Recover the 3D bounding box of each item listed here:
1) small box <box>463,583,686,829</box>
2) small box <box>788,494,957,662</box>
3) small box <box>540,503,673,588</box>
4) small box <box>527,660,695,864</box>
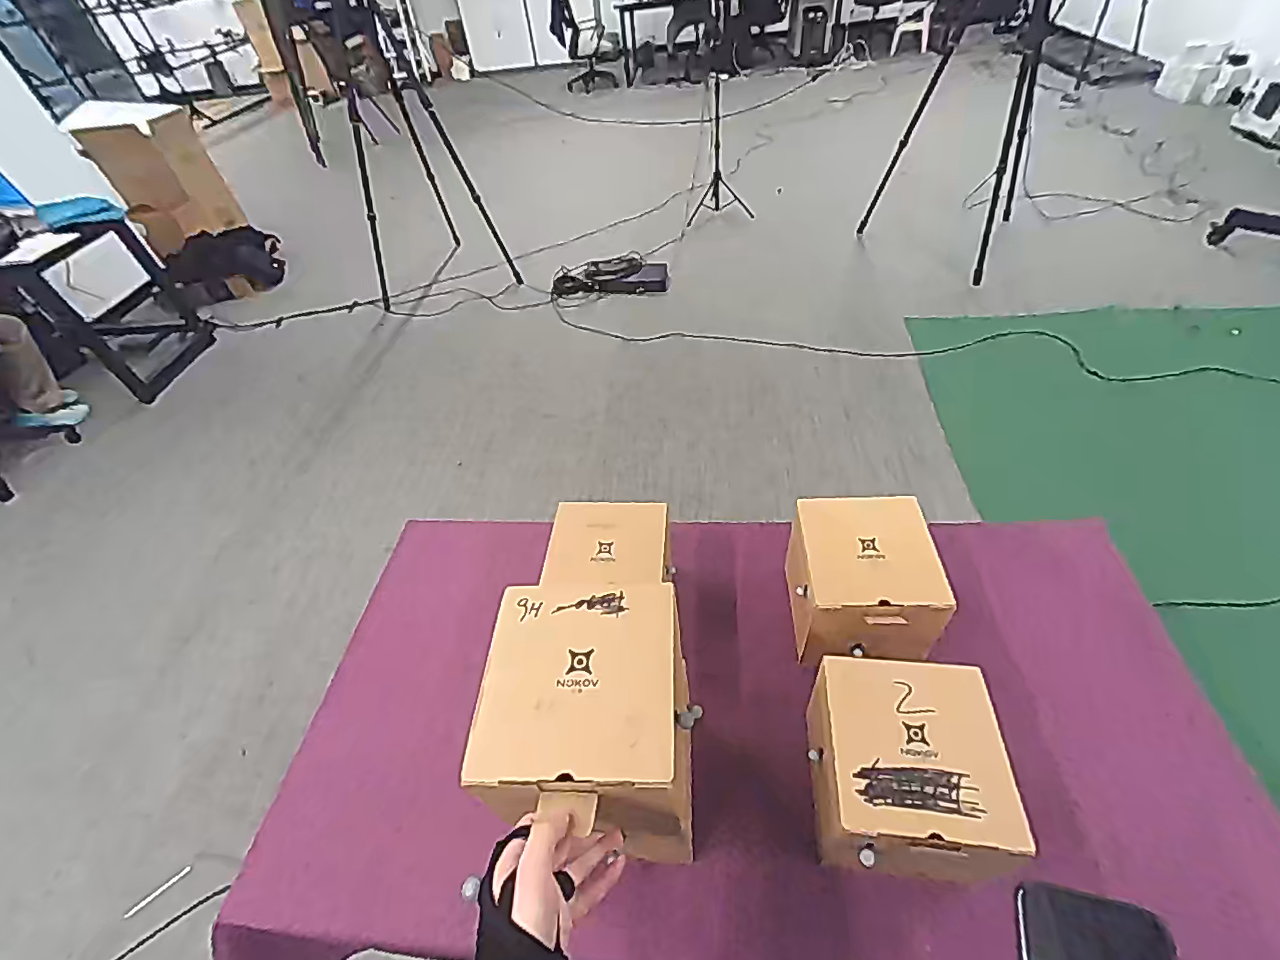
[{"bbox_3d":[-0.043,0.219,0.517,0.168,0.176,0.179,-3,47,6],"label":"small box"},{"bbox_3d":[0.309,0.139,0.765,0.168,0.176,0.179,-3,48,7],"label":"small box"},{"bbox_3d":[-0.038,0.153,0.806,0.168,0.176,0.179,0,47,7],"label":"small box"},{"bbox_3d":[-0.022,0.329,0.638,0.168,0.176,0.179,-3,46,7],"label":"small box"}]
